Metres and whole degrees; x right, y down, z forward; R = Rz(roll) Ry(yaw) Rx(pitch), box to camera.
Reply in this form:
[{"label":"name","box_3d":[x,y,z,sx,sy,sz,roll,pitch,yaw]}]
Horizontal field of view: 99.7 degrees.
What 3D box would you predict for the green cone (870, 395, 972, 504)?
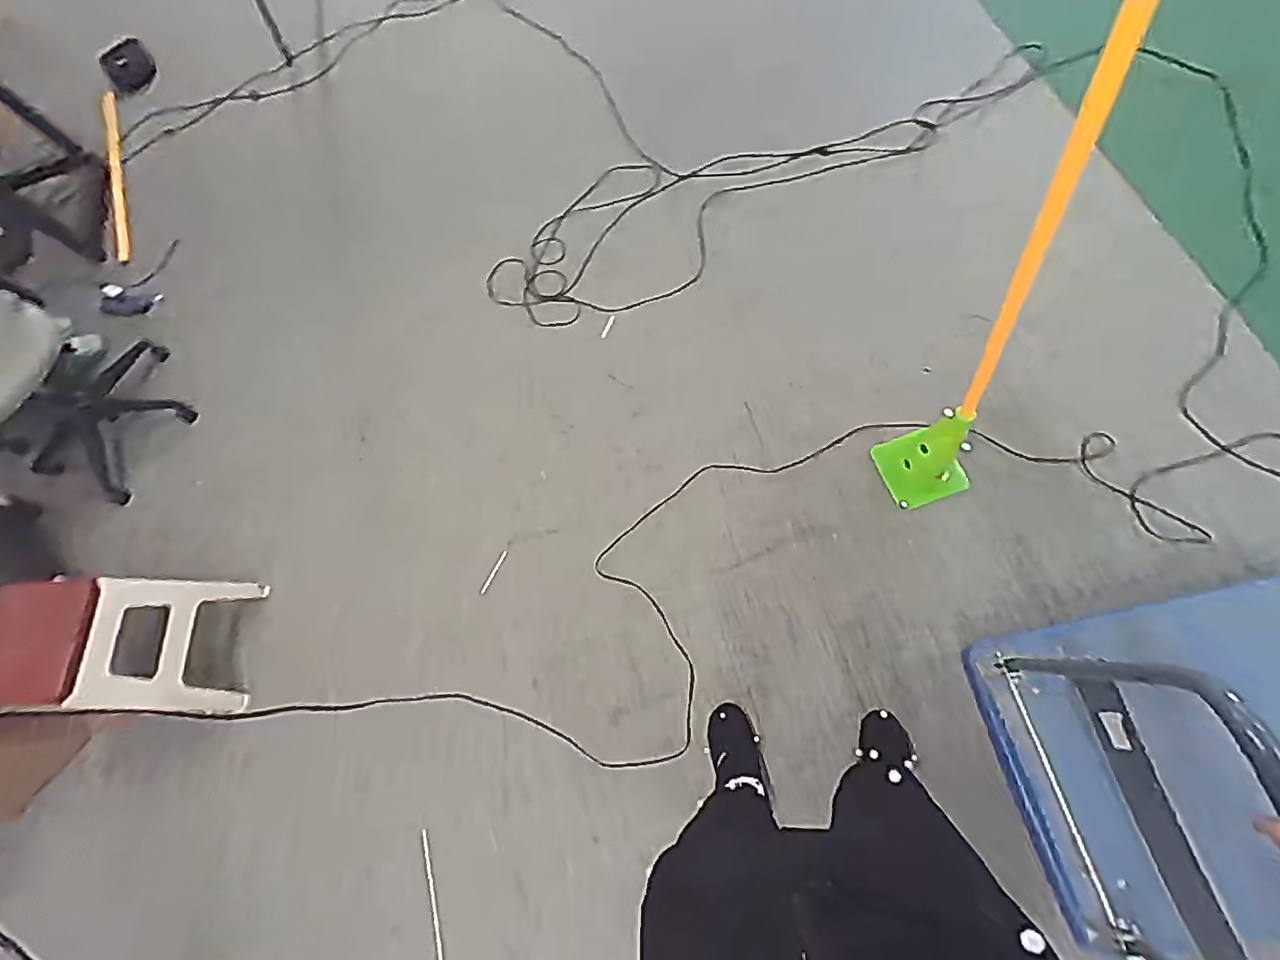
[{"label":"green cone","box_3d":[0.734,-0.105,1.329,0.200,0.368,0.202,-22,68,3]}]
